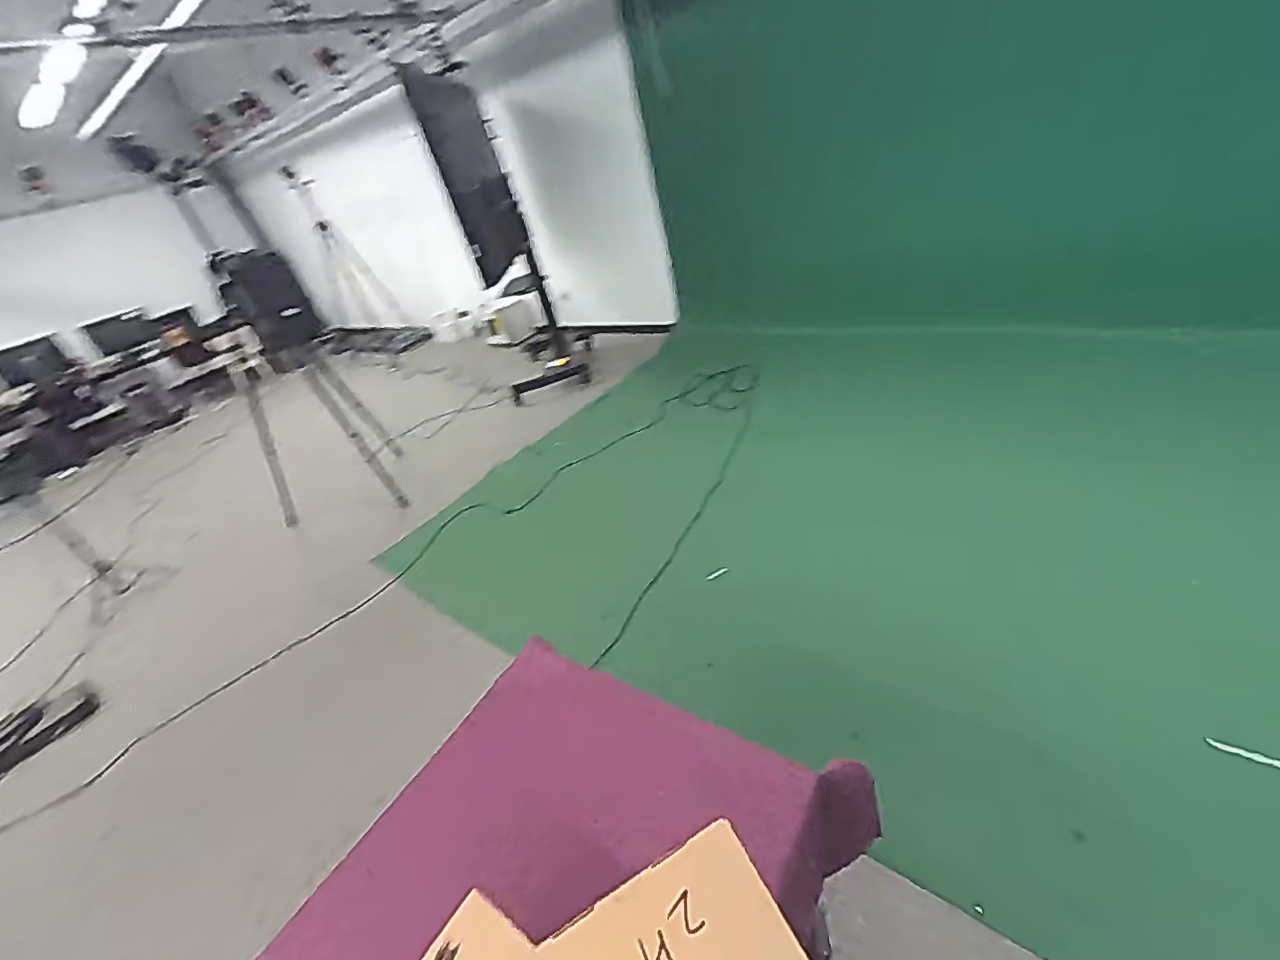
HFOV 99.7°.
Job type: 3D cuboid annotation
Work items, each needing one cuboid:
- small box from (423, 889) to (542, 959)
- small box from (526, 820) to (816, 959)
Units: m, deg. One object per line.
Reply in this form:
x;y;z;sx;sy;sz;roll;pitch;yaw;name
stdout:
-0.144;0.589;0.565;0.179;0.176;0.168;11;42;35;small box
0.051;0.374;0.350;0.168;0.176;0.179;-27;40;-12;small box
